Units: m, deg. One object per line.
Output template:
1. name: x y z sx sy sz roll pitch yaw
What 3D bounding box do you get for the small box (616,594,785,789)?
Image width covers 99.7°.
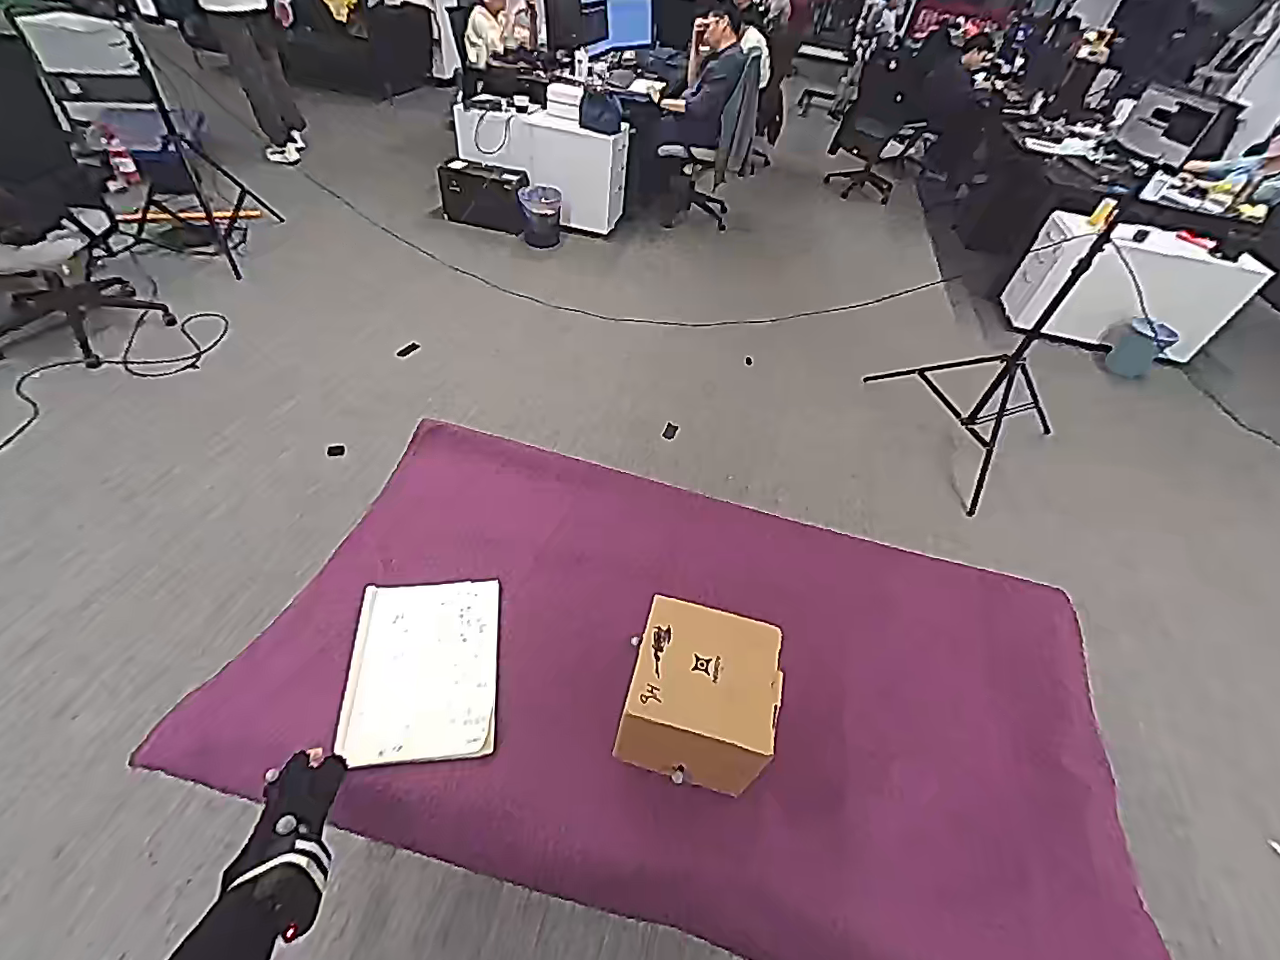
1. small box: 0.077 0.283 0.715 0.179 0.176 0.168 15 45 5
